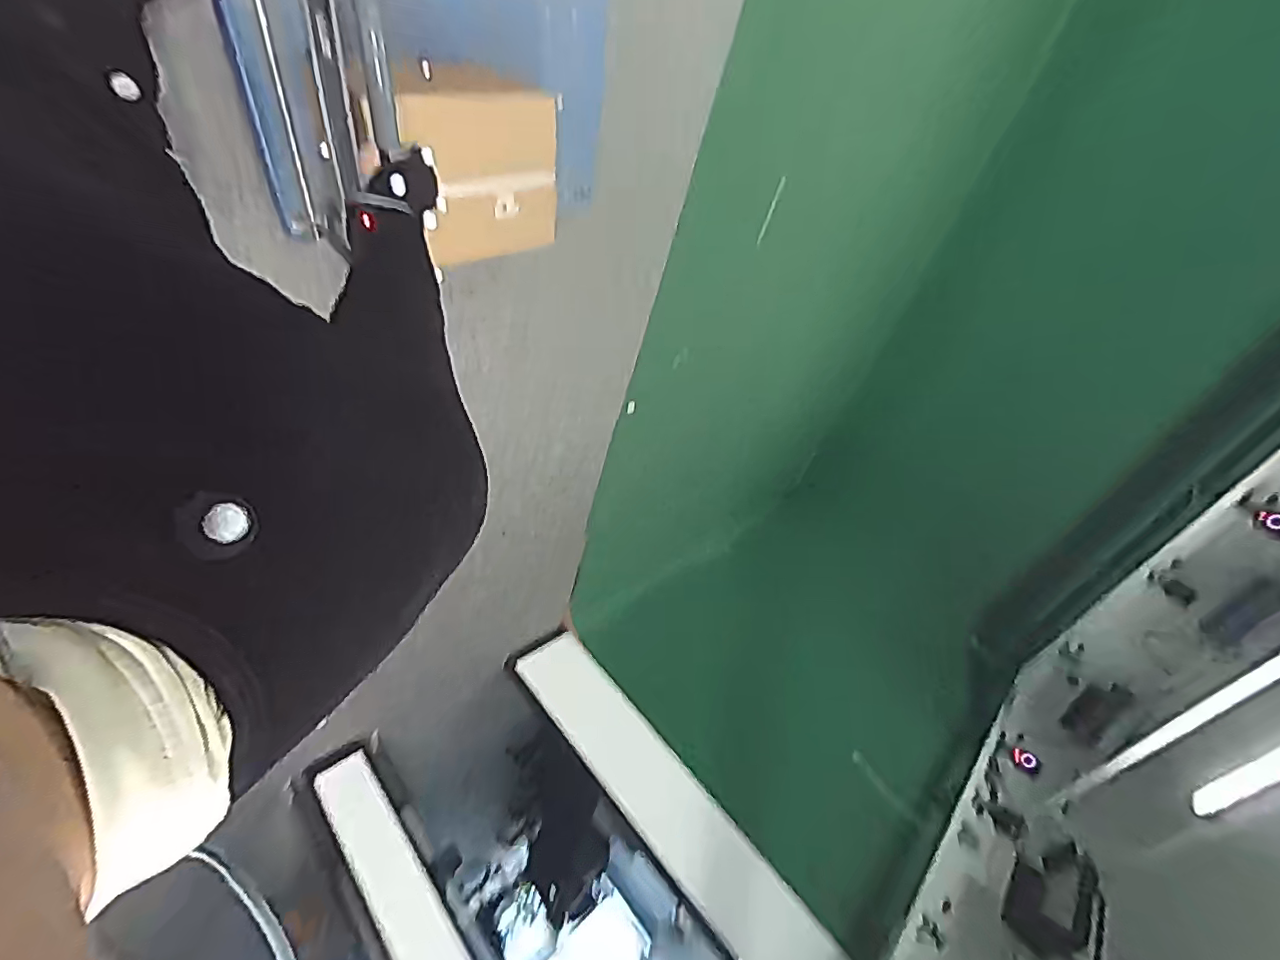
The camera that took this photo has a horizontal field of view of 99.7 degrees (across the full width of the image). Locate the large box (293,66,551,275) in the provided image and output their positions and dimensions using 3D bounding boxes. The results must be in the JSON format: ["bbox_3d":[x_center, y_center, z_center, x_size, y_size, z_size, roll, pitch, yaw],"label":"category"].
[{"bbox_3d":[-0.452,-0.697,1.191,0.408,0.320,0.320,-29,146,-34],"label":"large box"}]
